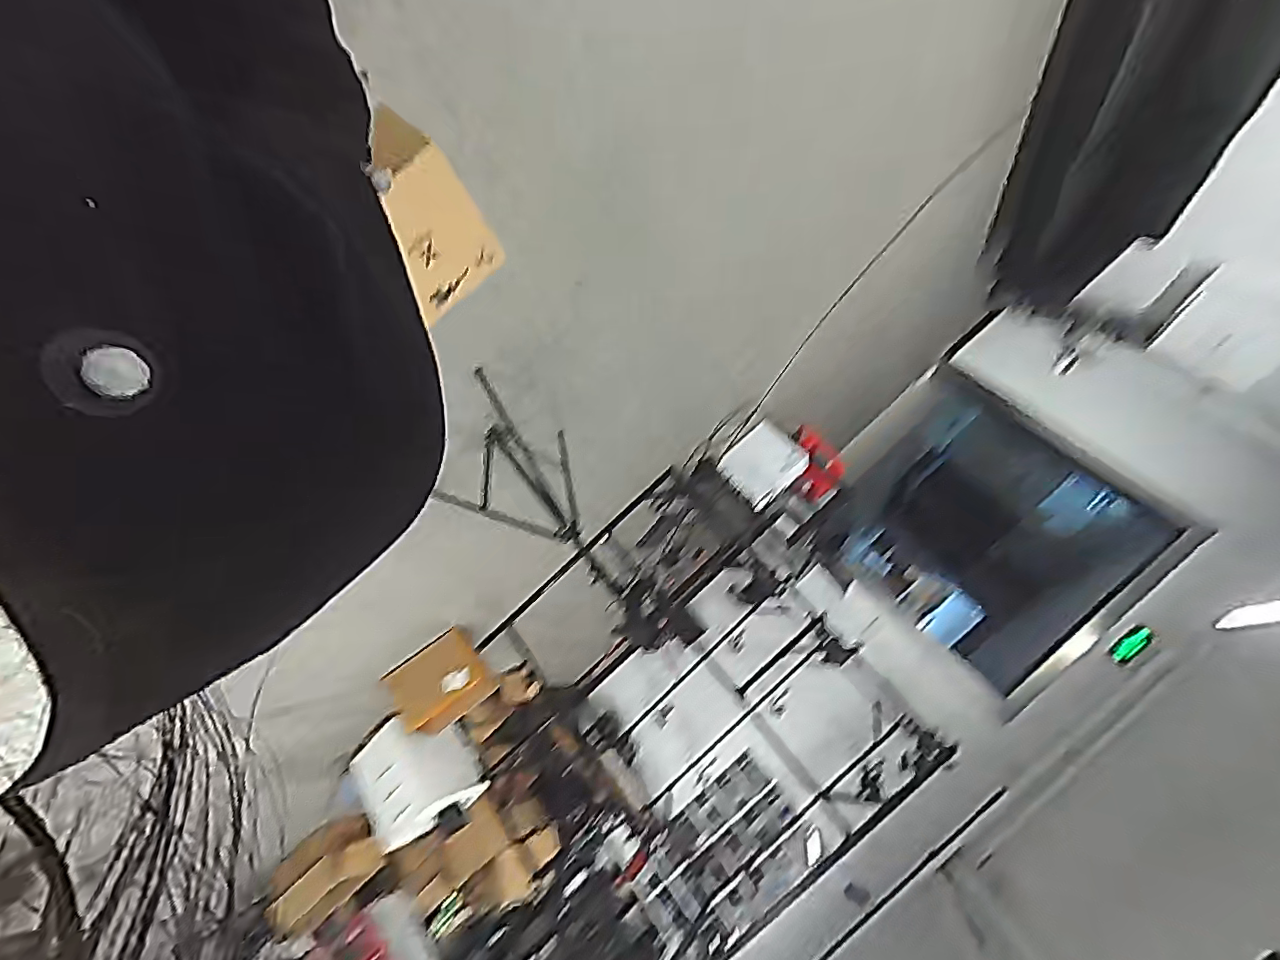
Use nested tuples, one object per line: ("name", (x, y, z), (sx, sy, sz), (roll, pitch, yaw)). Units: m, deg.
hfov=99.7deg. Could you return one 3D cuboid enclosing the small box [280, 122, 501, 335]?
("small box", (-0.326, -0.335, 0.714), (0.168, 0.176, 0.179), (-42, 151, -5))
